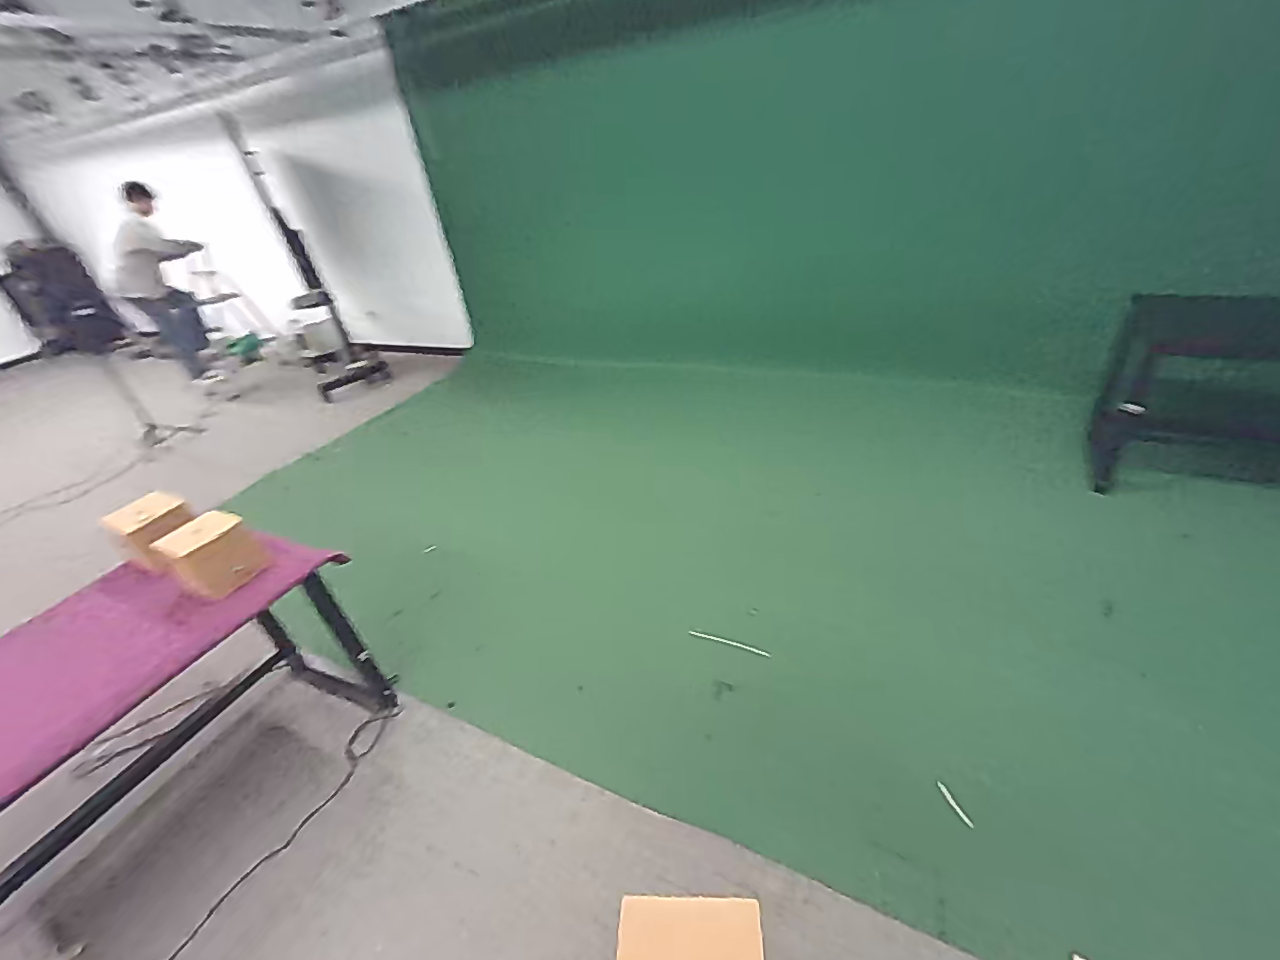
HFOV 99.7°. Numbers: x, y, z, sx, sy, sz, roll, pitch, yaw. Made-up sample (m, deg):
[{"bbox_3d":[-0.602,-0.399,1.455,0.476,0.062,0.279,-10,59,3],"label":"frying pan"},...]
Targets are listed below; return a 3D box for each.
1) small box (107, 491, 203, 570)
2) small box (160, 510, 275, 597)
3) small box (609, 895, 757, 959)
[{"bbox_3d":[-1.485,0.159,1.689,0.179,0.176,0.168,11,40,25],"label":"small box"},{"bbox_3d":[-1.201,0.210,1.546,0.179,0.176,0.168,10,39,28],"label":"small box"},{"bbox_3d":[0.052,0.610,0.606,0.168,0.176,0.179,-4,27,6],"label":"small box"}]
